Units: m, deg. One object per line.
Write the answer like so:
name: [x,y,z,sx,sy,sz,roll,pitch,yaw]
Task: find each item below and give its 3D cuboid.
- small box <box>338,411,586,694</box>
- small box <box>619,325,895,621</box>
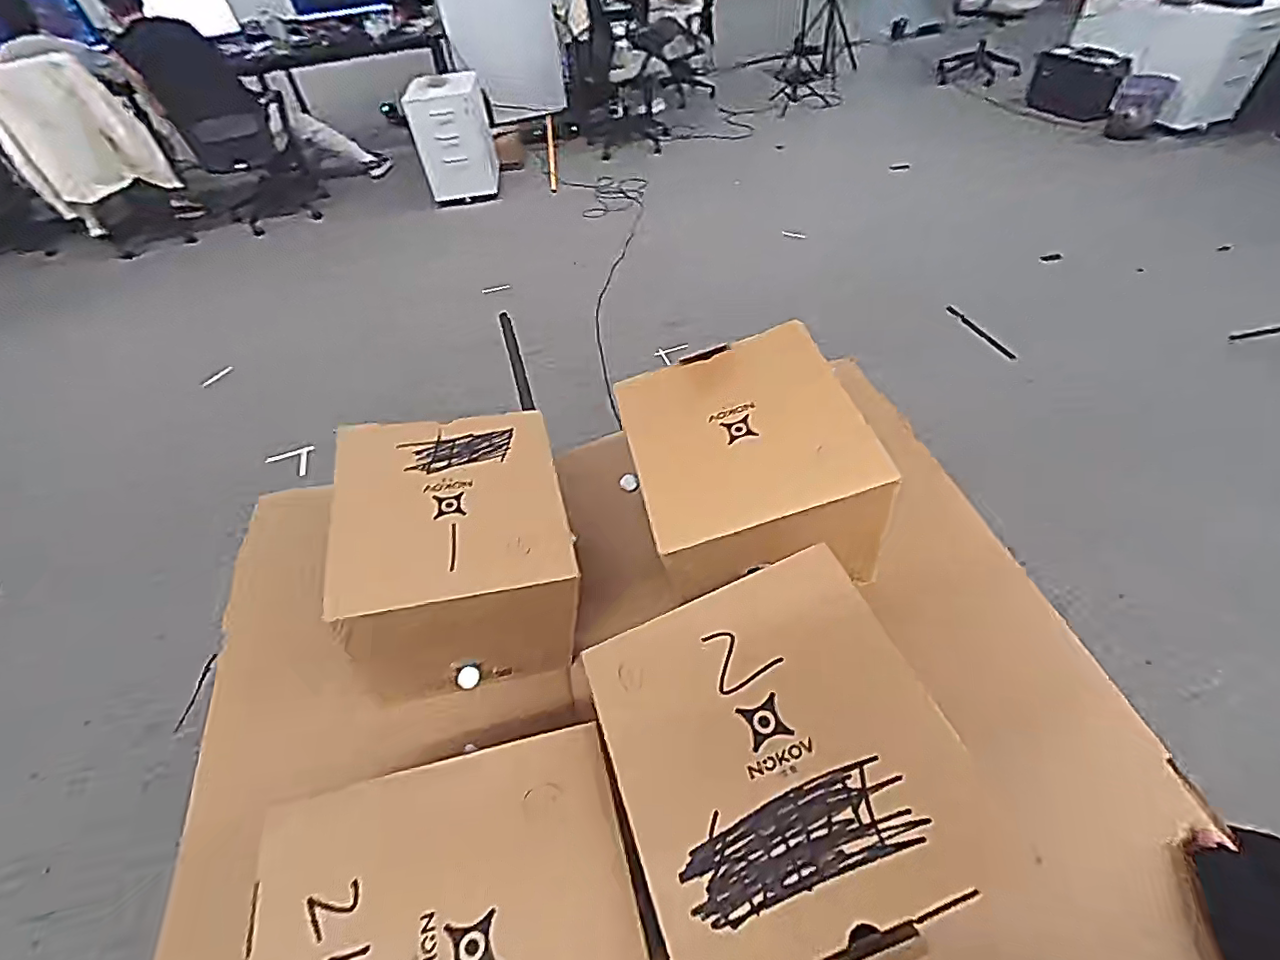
small box: [-0.147,0.062,0.479,0.168,0.176,0.179,-7,52,-15]
small box: [0.095,0.005,0.469,0.168,0.176,0.179,-18,51,4]
